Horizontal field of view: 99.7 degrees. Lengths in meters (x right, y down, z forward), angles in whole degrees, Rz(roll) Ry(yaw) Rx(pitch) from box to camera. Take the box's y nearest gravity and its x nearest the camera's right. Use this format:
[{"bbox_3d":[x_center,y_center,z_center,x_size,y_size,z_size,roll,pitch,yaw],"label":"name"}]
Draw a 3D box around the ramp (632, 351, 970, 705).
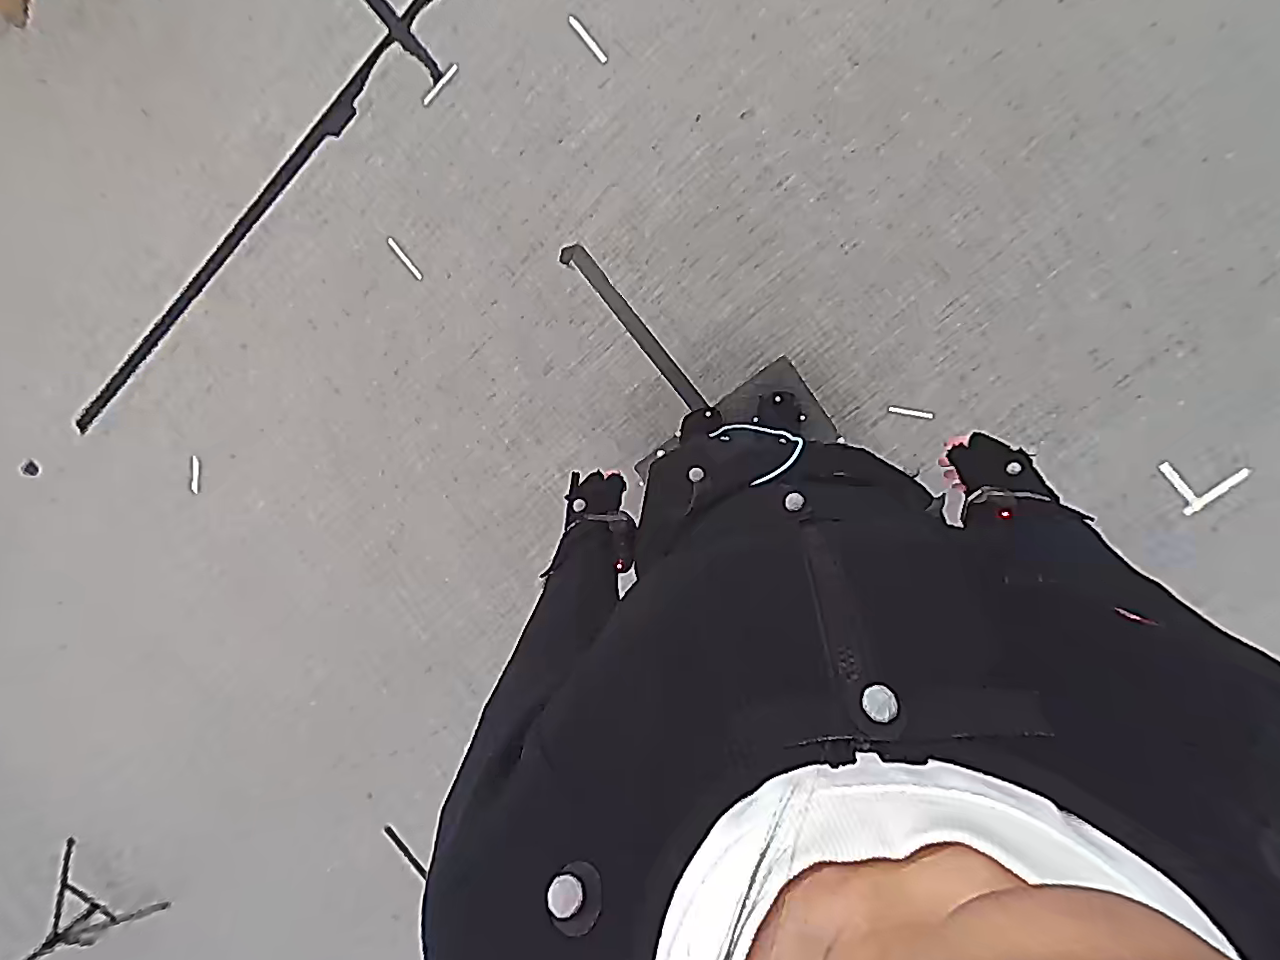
[{"bbox_3d":[0.472,0.183,1.516,0.509,0.206,0.991,-39,93,11],"label":"ramp"}]
